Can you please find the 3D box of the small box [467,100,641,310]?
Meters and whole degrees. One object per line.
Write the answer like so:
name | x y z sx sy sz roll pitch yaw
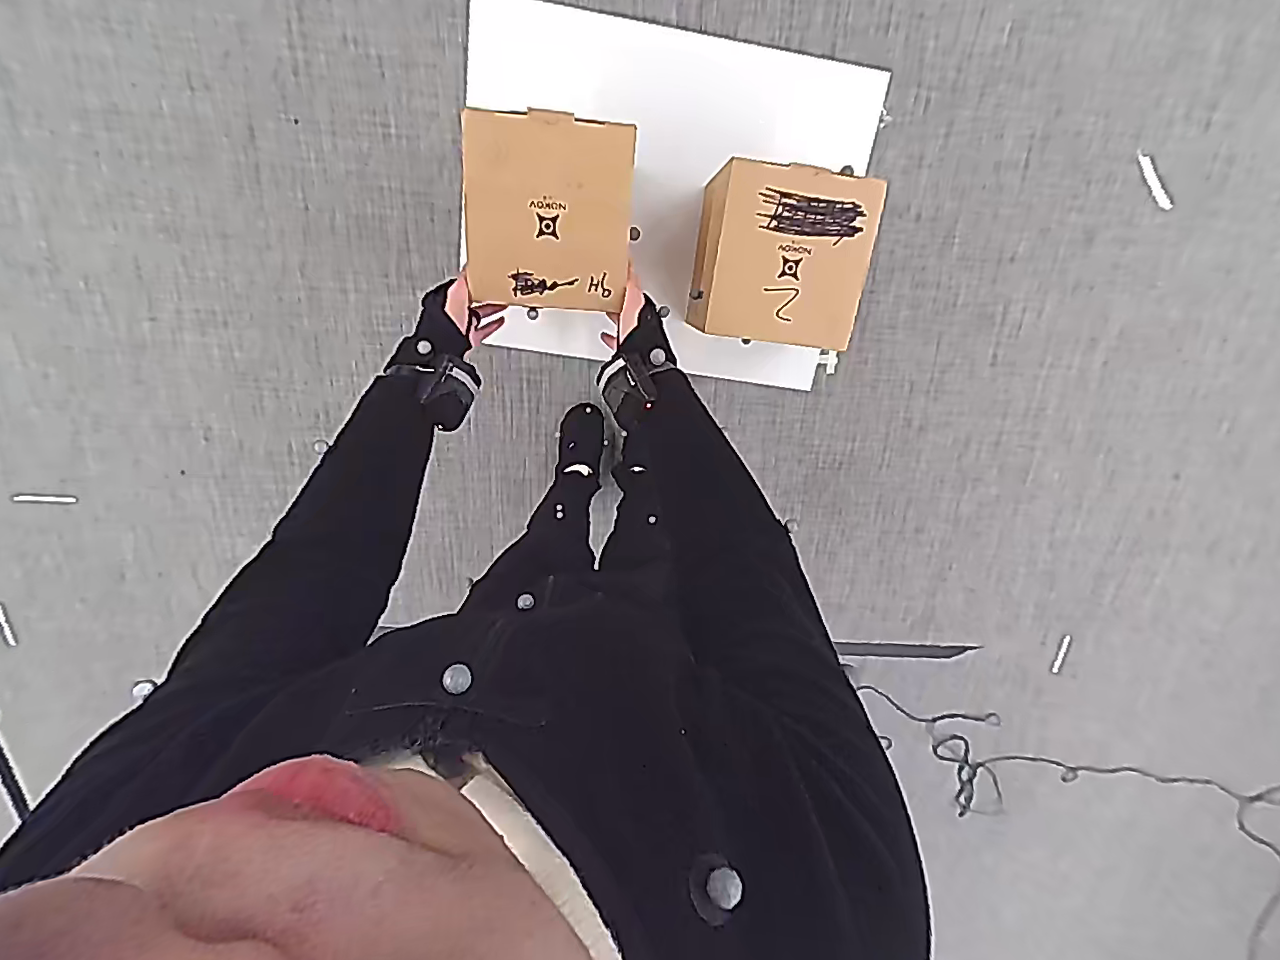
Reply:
small box | -0.092 -0.292 0.608 0.168 0.176 0.179 3 110 -4
